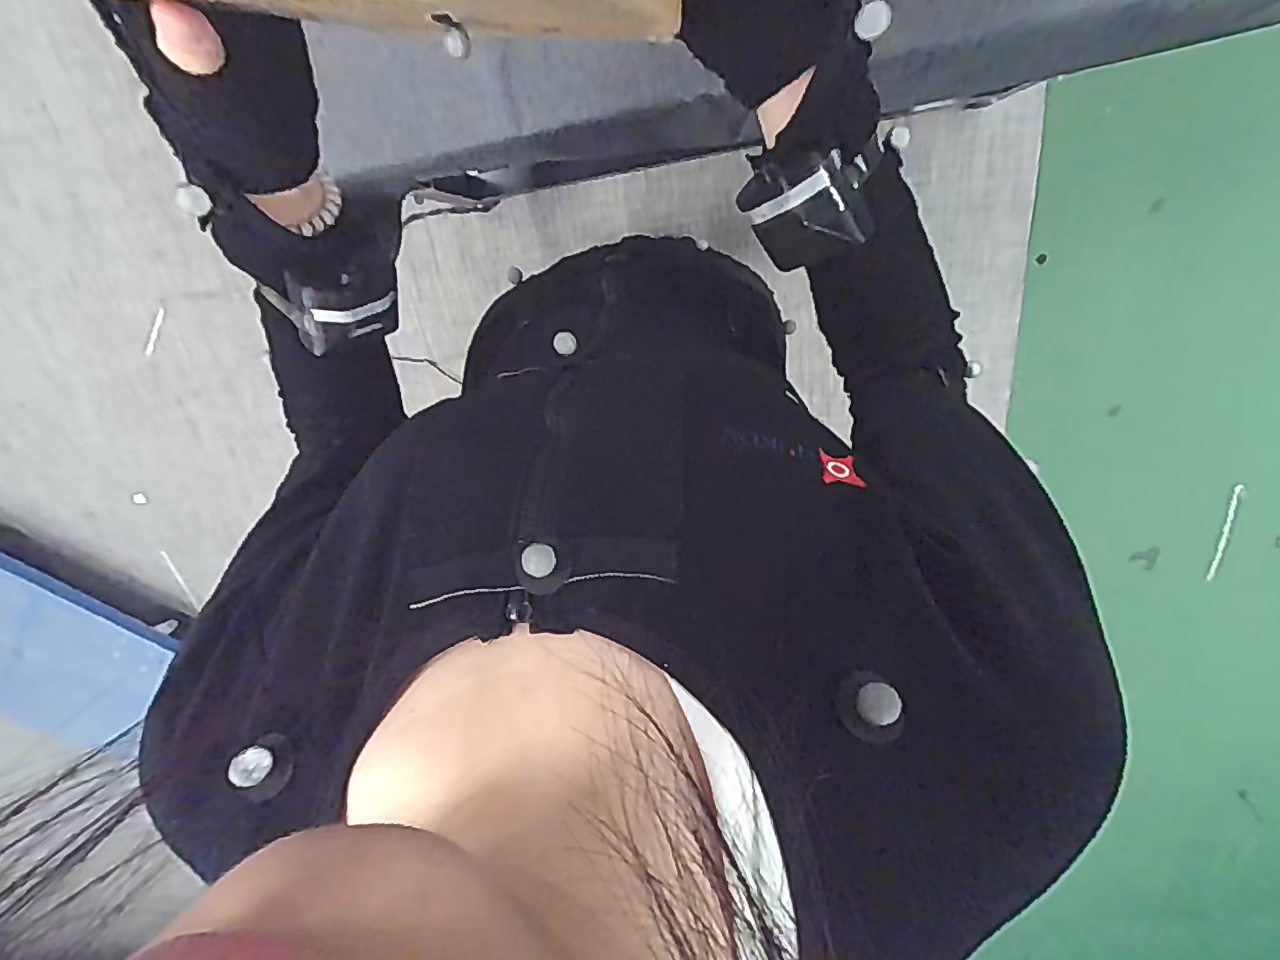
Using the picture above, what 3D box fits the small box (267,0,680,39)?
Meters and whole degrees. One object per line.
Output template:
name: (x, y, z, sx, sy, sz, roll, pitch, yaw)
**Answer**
small box: (-0.069, -0.260, 0.170, 0.168, 0.176, 0.179, 6, 127, 6)
